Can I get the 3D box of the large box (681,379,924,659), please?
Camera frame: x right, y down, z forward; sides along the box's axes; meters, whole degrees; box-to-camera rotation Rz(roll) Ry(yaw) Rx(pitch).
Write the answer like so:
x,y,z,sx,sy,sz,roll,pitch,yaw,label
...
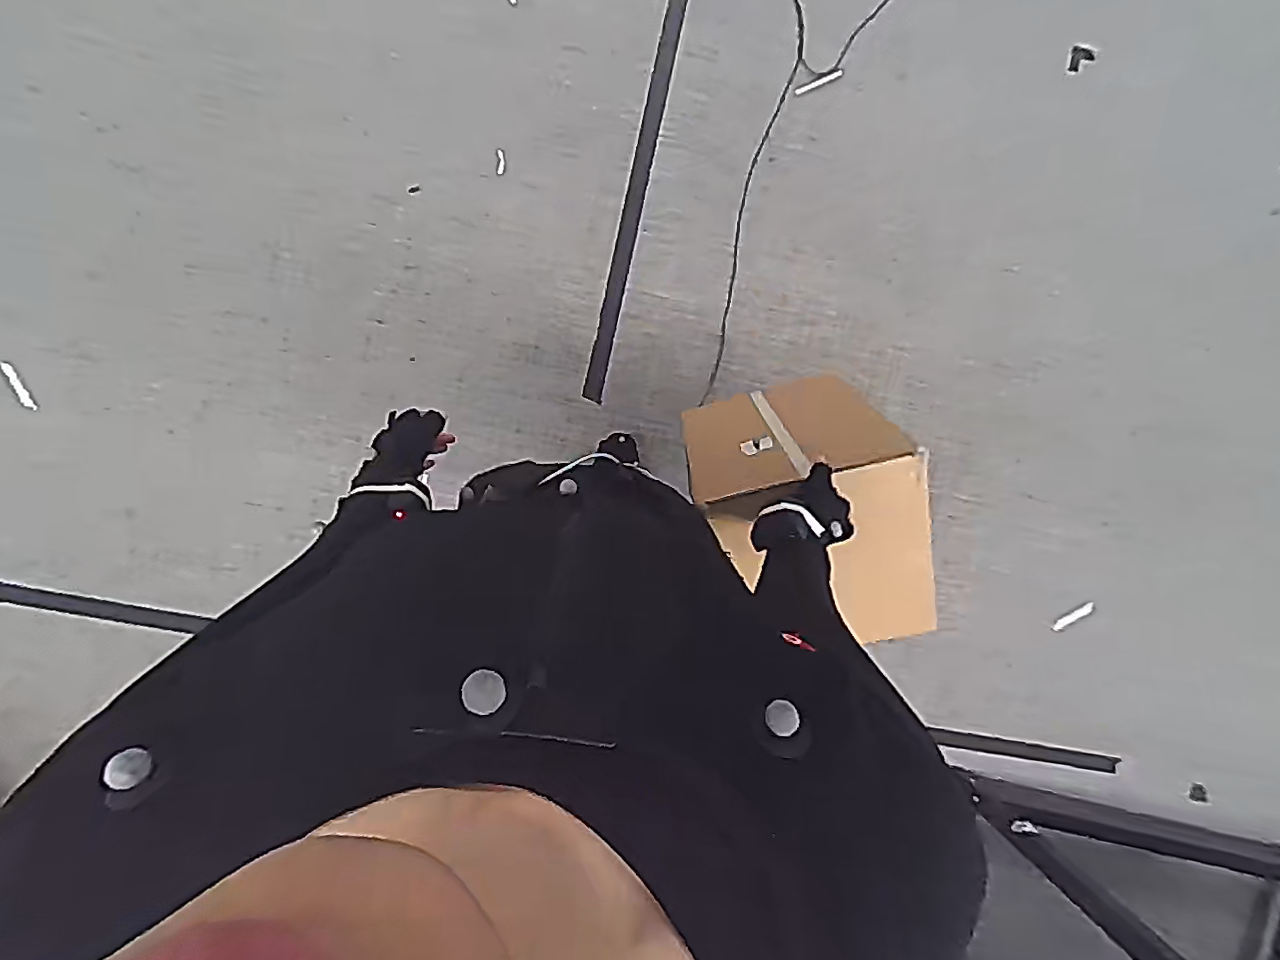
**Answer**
x,y,z,sx,sy,sz,roll,pitch,yaw,label
0.271,0.048,0.985,0.320,0.408,0.320,-14,116,7,large box
